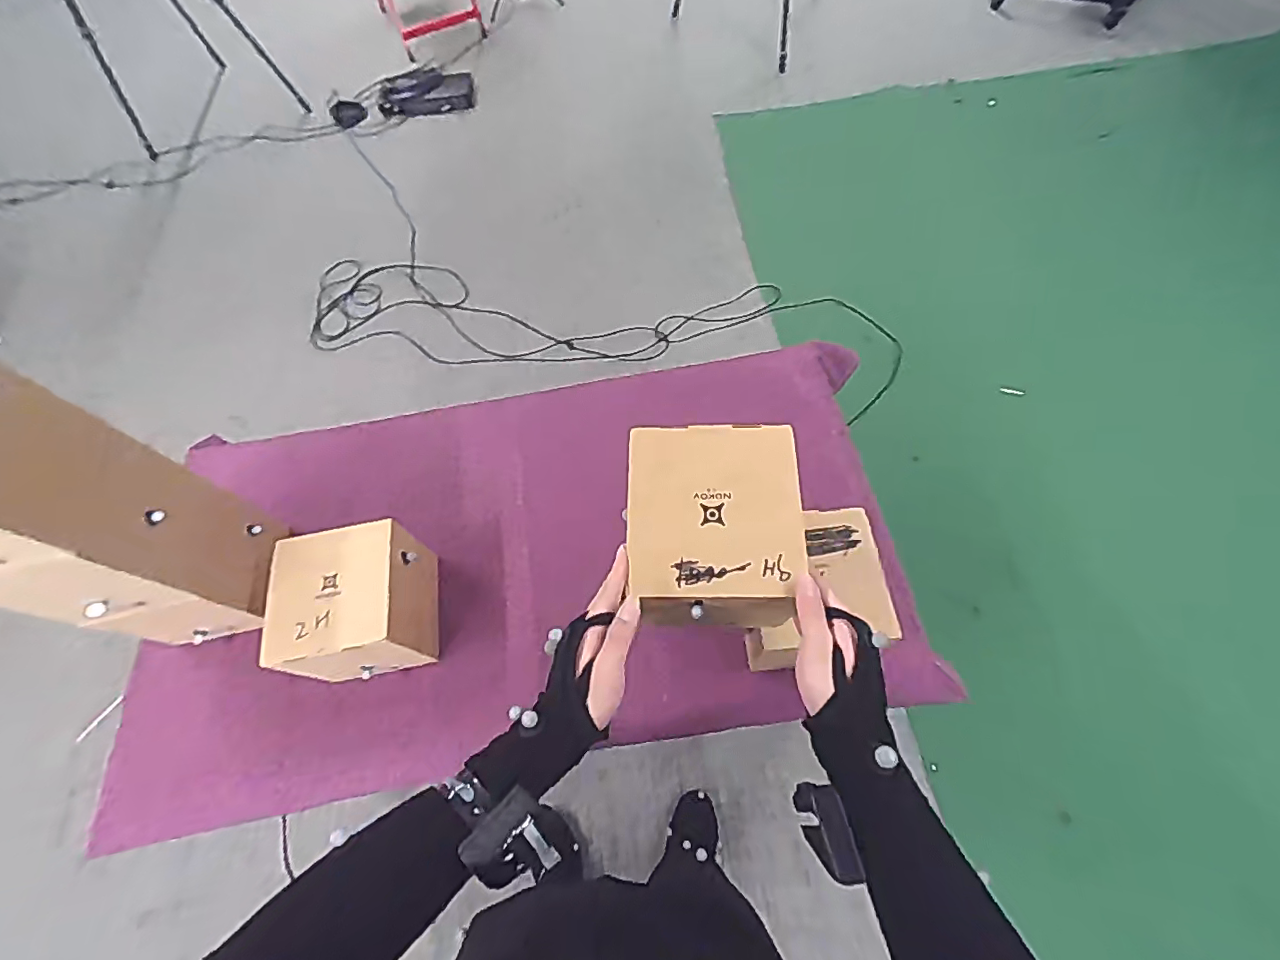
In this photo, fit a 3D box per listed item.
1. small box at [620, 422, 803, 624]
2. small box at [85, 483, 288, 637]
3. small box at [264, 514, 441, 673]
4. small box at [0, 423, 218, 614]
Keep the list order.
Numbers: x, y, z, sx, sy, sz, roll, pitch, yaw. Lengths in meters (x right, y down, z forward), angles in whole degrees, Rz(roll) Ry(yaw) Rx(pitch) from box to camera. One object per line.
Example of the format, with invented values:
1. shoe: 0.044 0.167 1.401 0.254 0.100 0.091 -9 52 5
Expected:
1. small box: 0.071 0.053 0.586 0.168 0.176 0.179 -1 67 5
2. small box: -0.680 0.129 0.840 0.168 0.176 0.179 -12 64 -1
3. small box: -0.406 0.172 0.797 0.168 0.176 0.179 -11 64 0
4. small box: -0.691 0.056 0.694 0.168 0.176 0.179 -13 64 -1
